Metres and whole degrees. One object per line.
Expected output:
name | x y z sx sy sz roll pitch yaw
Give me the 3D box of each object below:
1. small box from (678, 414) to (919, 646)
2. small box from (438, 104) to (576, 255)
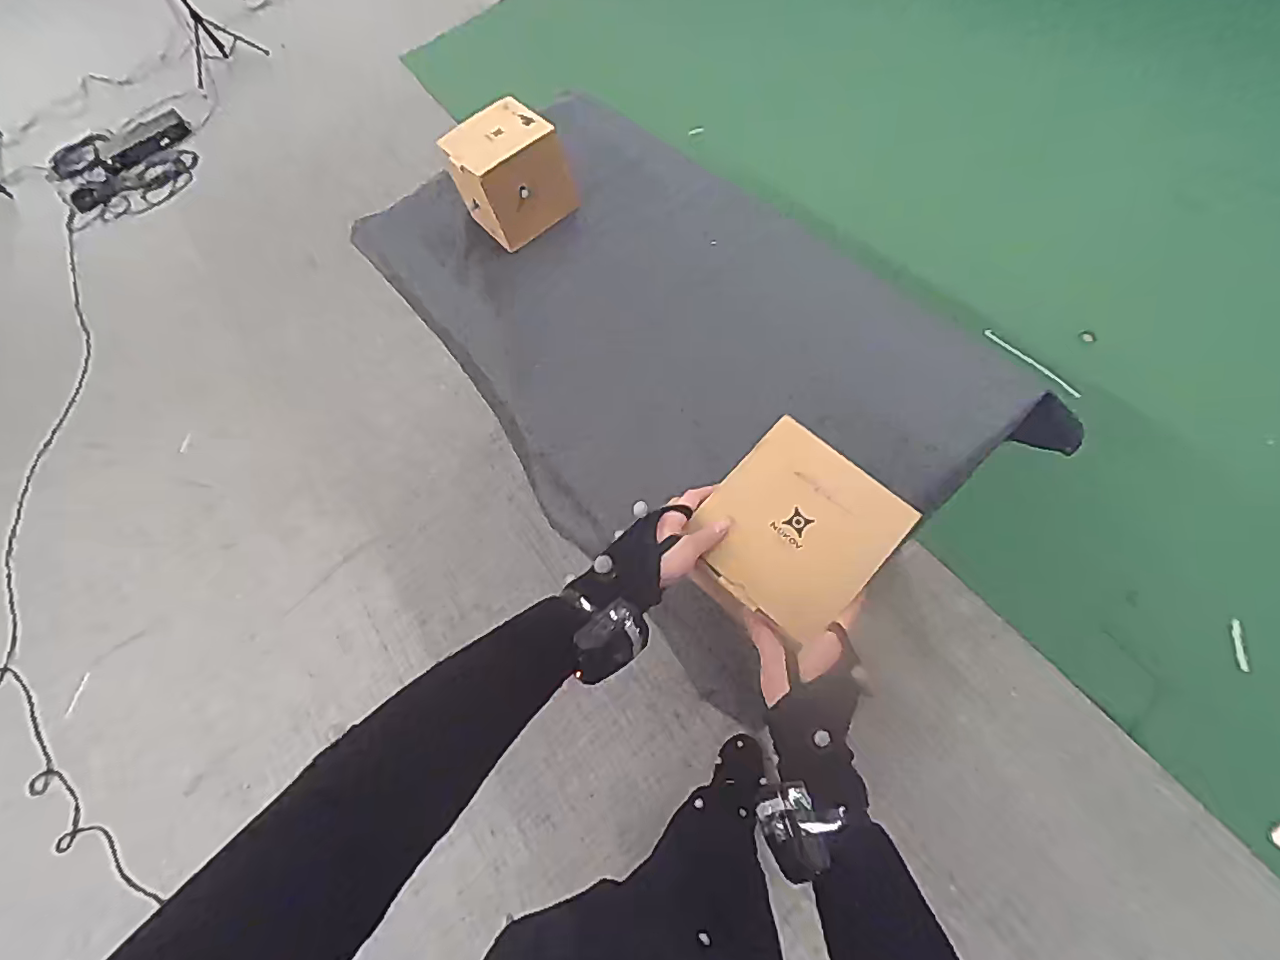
small box | 0.160 0.067 0.600 0.168 0.176 0.179 41 79 15
small box | -0.254 -0.584 1.066 0.179 0.176 0.168 -39 65 -8
